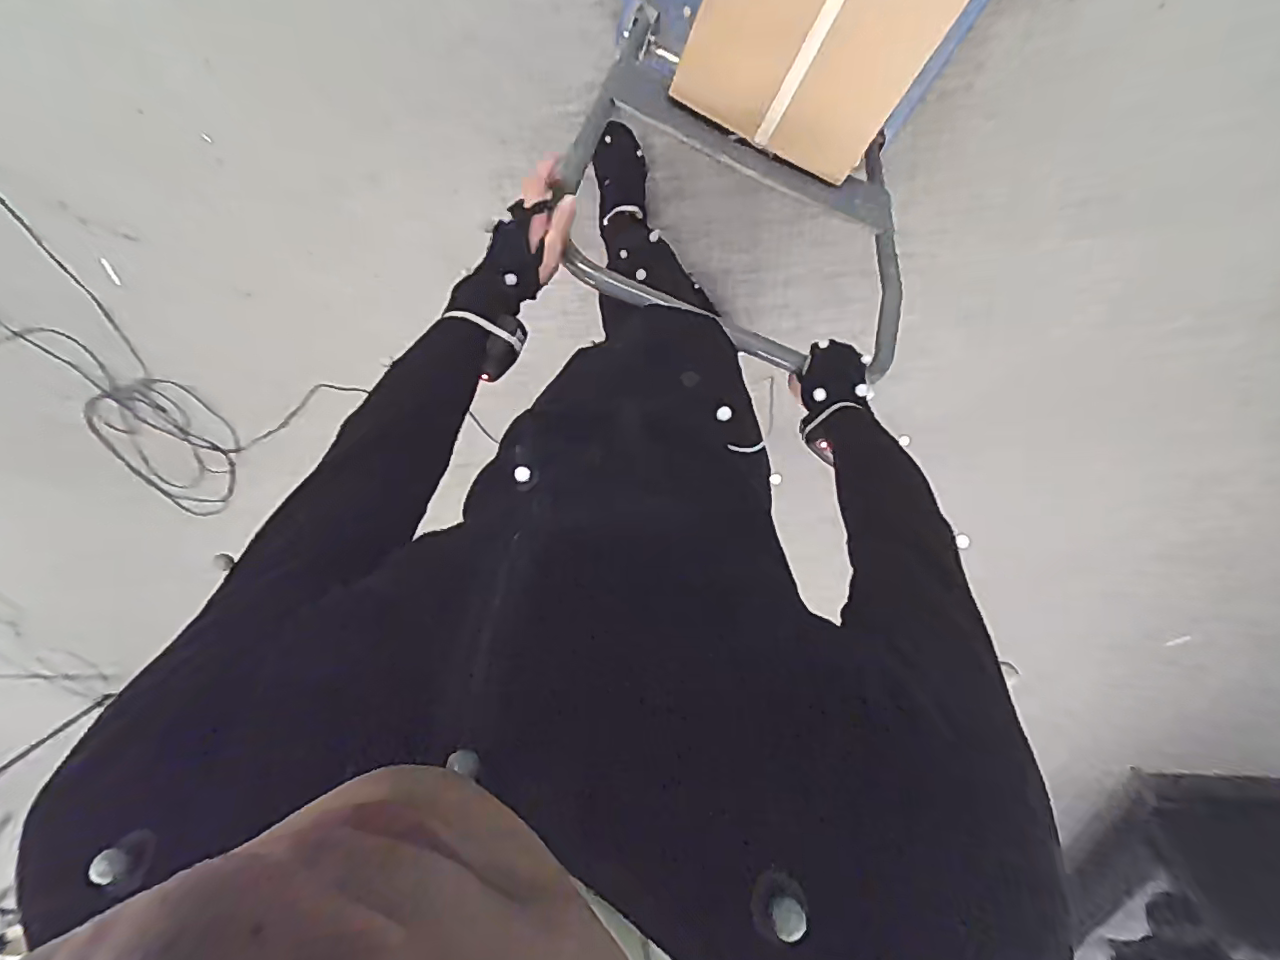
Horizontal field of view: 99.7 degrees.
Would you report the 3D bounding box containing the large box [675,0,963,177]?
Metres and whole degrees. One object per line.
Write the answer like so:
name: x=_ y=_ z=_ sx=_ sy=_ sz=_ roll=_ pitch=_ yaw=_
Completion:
large box: x=0.283 y=-0.757 z=0.784 sx=0.320 sy=0.320 sz=0.408 roll=20 pitch=141 yaw=-12
